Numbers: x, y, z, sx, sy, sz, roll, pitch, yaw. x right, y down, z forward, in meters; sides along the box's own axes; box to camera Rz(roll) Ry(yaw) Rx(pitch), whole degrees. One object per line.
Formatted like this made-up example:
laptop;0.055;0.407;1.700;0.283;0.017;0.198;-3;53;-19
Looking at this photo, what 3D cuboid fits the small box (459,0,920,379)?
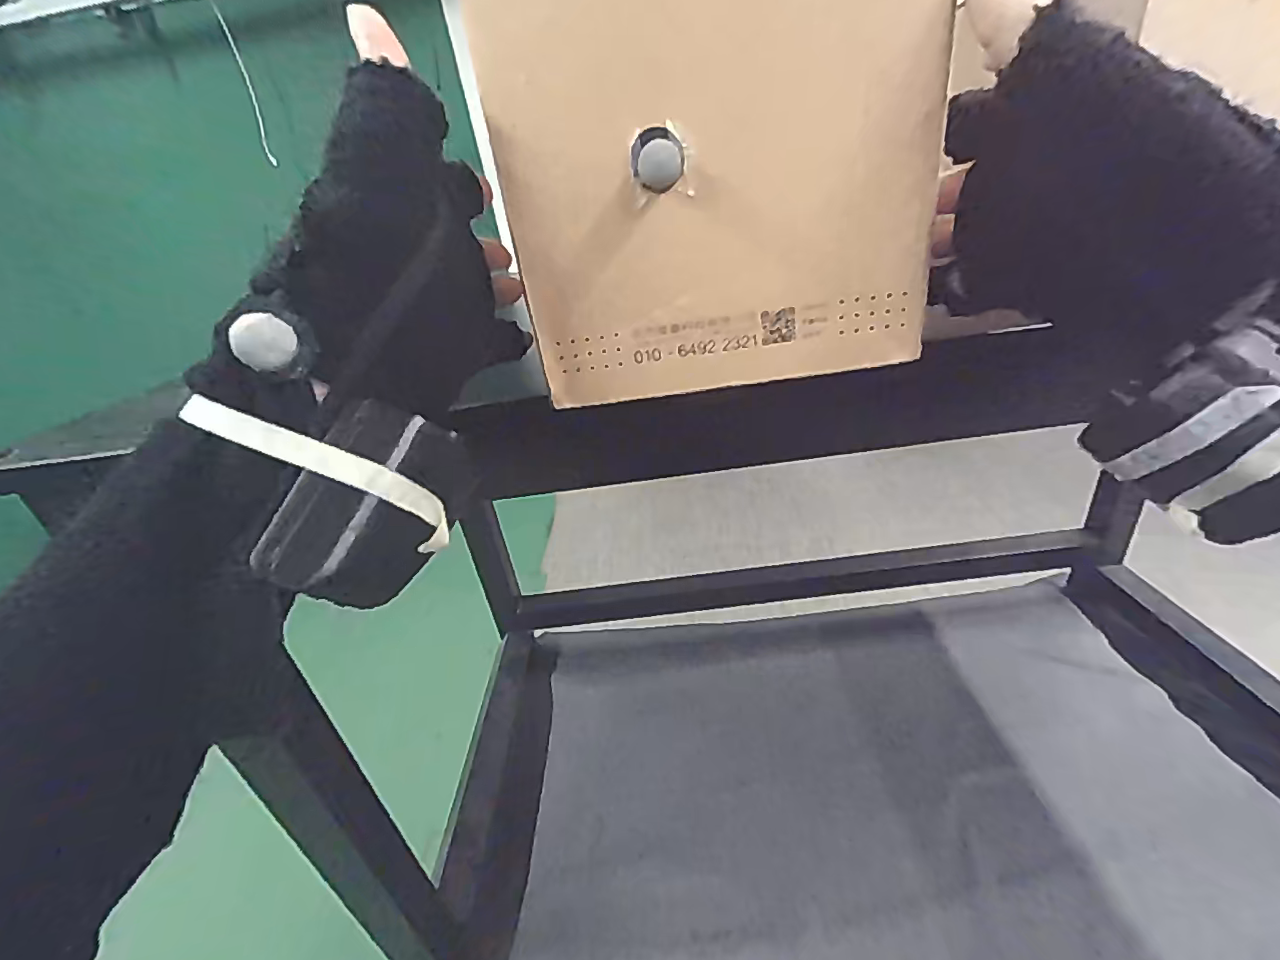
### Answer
small box;0.029;-0.157;0.283;0.168;0.176;0.179;-7;27;4
